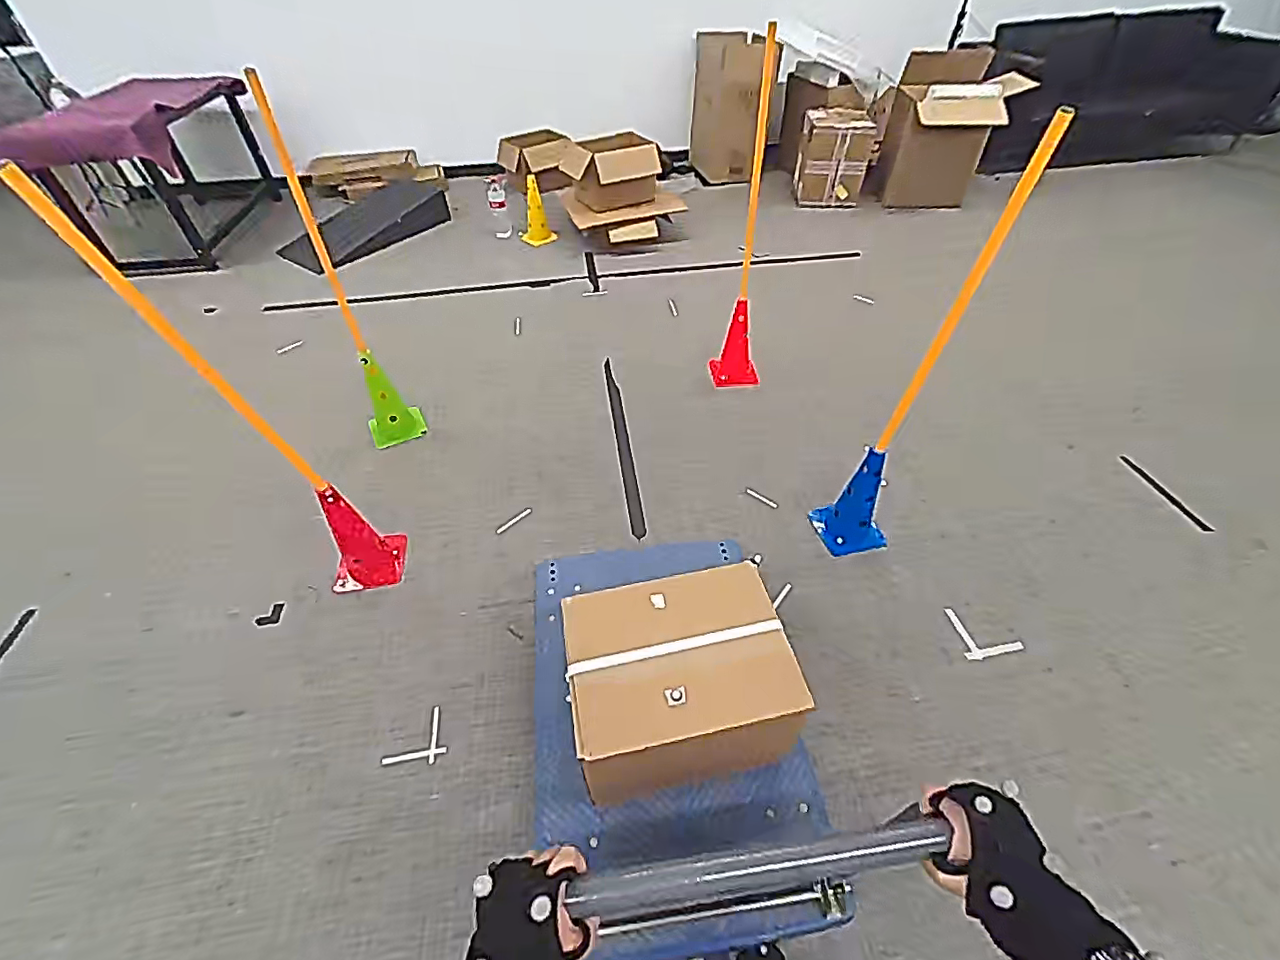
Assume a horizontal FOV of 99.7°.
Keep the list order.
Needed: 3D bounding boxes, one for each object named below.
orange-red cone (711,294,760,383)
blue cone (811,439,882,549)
[{"bbox_3d":[0.420,-0.607,2.270,0.199,0.360,0.198,-1,47,-2],"label":"orange-red cone"},{"bbox_3d":[0.684,0.033,1.678,0.193,0.380,0.192,-10,46,-8],"label":"blue cone"}]
